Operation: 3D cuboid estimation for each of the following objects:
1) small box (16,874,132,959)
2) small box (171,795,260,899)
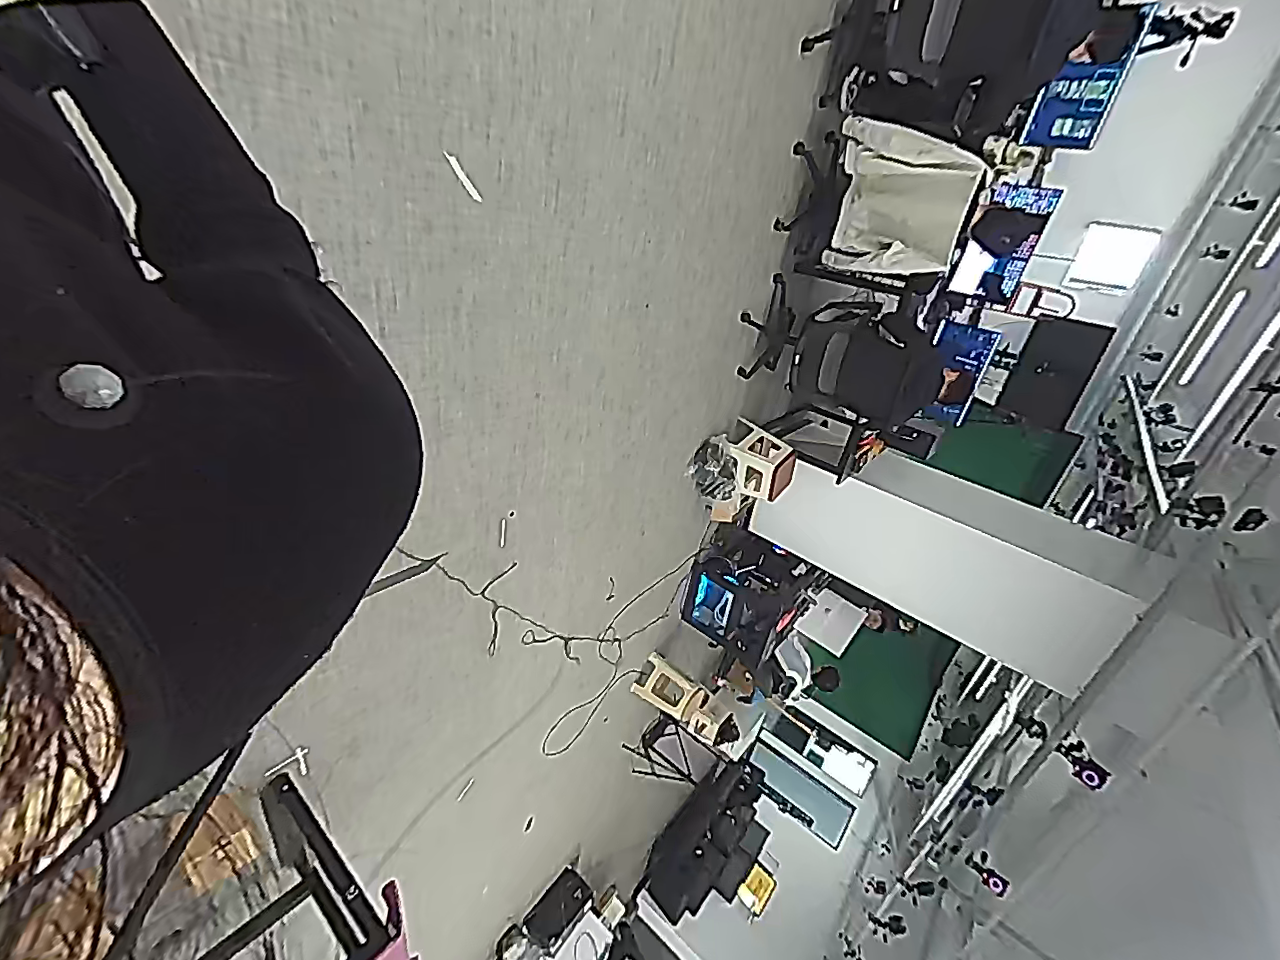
[{"bbox_3d":[-1.524,1.223,1.458,0.168,0.176,0.179,-25,133,-47],"label":"small box"},{"bbox_3d":[-1.330,1.142,1.696,0.168,0.176,0.179,-23,133,-48],"label":"small box"}]
